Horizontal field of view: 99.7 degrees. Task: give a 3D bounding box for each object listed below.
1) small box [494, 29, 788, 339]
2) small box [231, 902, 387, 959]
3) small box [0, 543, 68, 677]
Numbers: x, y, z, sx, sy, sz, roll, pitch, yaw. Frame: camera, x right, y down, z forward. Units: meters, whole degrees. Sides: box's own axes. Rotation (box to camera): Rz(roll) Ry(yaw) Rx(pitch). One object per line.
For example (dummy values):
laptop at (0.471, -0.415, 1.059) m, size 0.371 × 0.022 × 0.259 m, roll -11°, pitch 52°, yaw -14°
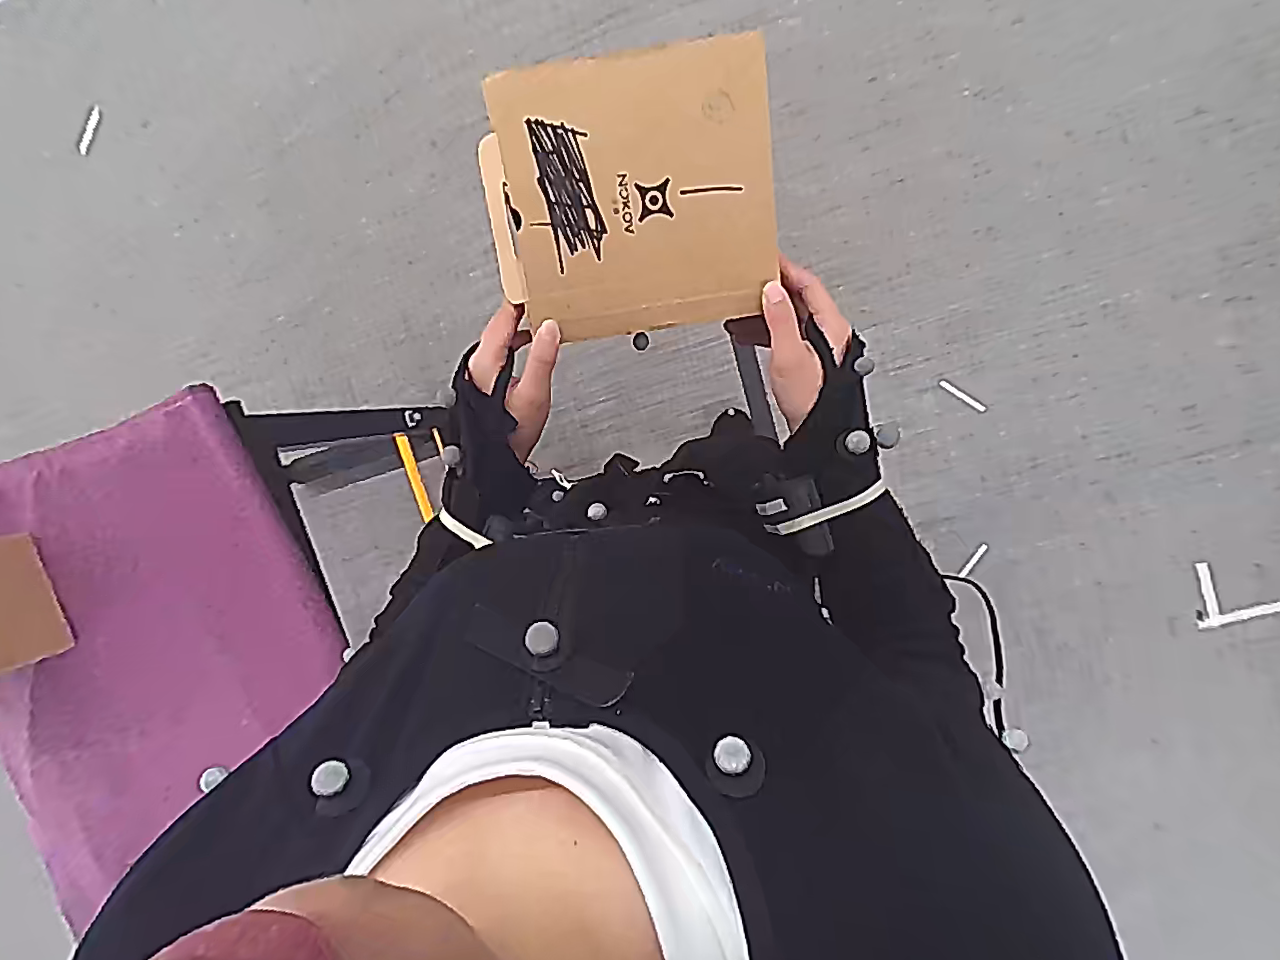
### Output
small box at (0.005, -0.204, 0.423) m, size 0.179 × 0.176 × 0.168 m, roll -7°, pitch 107°, yaw 1°
small box at (-0.457, 0.701, 0.710) m, size 0.168 × 0.176 × 0.179 m, roll -22°, pitch 95°, yaw 11°
small box at (-0.919, 0.190, 0.696) m, size 0.168 × 0.176 × 0.179 m, roll -16°, pitch 95°, yaw 9°
